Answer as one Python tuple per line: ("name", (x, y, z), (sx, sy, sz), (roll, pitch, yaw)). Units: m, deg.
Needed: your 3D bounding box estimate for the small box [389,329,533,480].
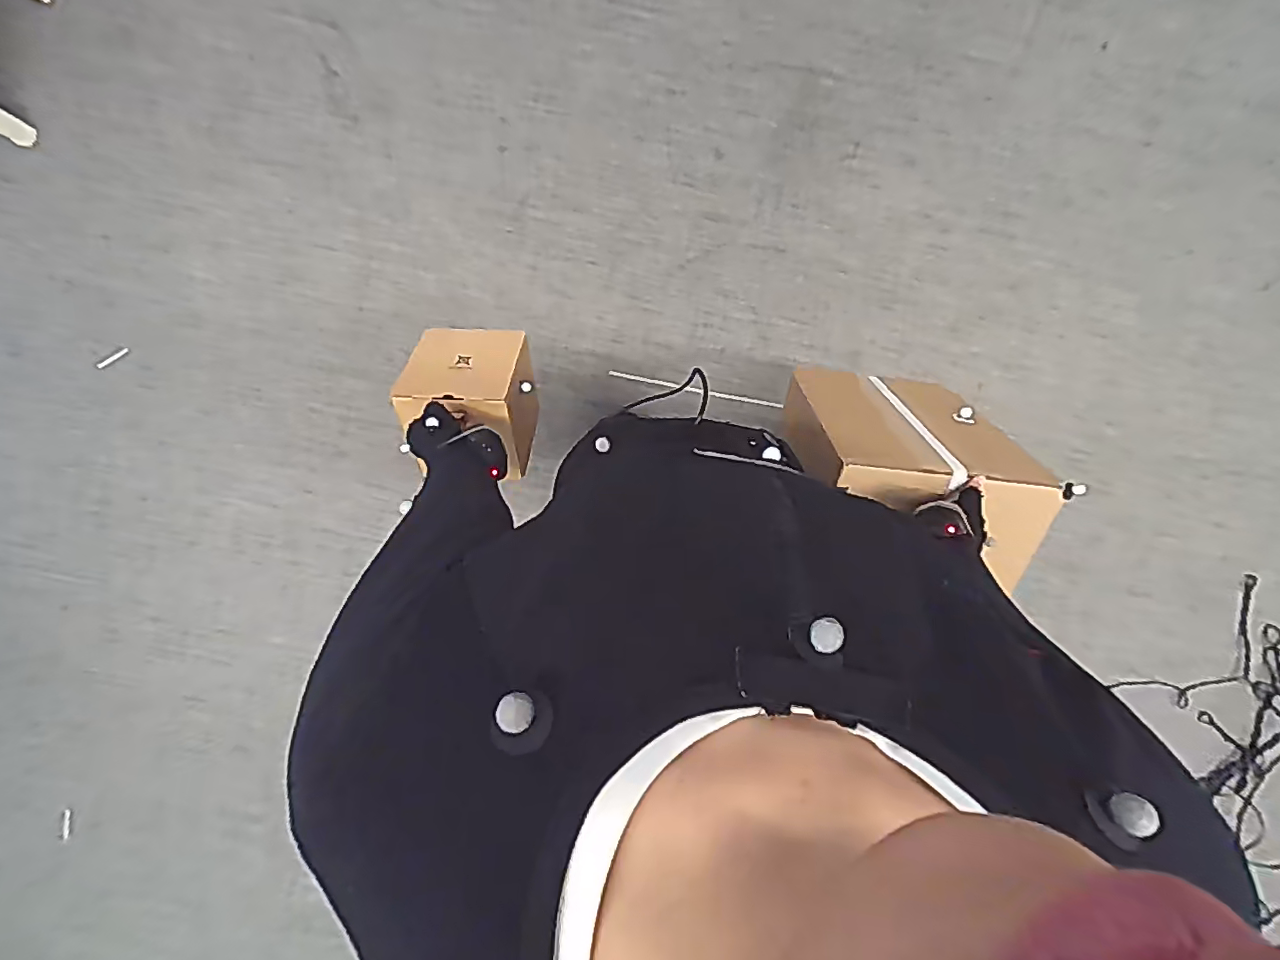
("small box", (-0.274, -0.122, 0.878), (0.168, 0.179, 0.176), (2, 139, 1))
